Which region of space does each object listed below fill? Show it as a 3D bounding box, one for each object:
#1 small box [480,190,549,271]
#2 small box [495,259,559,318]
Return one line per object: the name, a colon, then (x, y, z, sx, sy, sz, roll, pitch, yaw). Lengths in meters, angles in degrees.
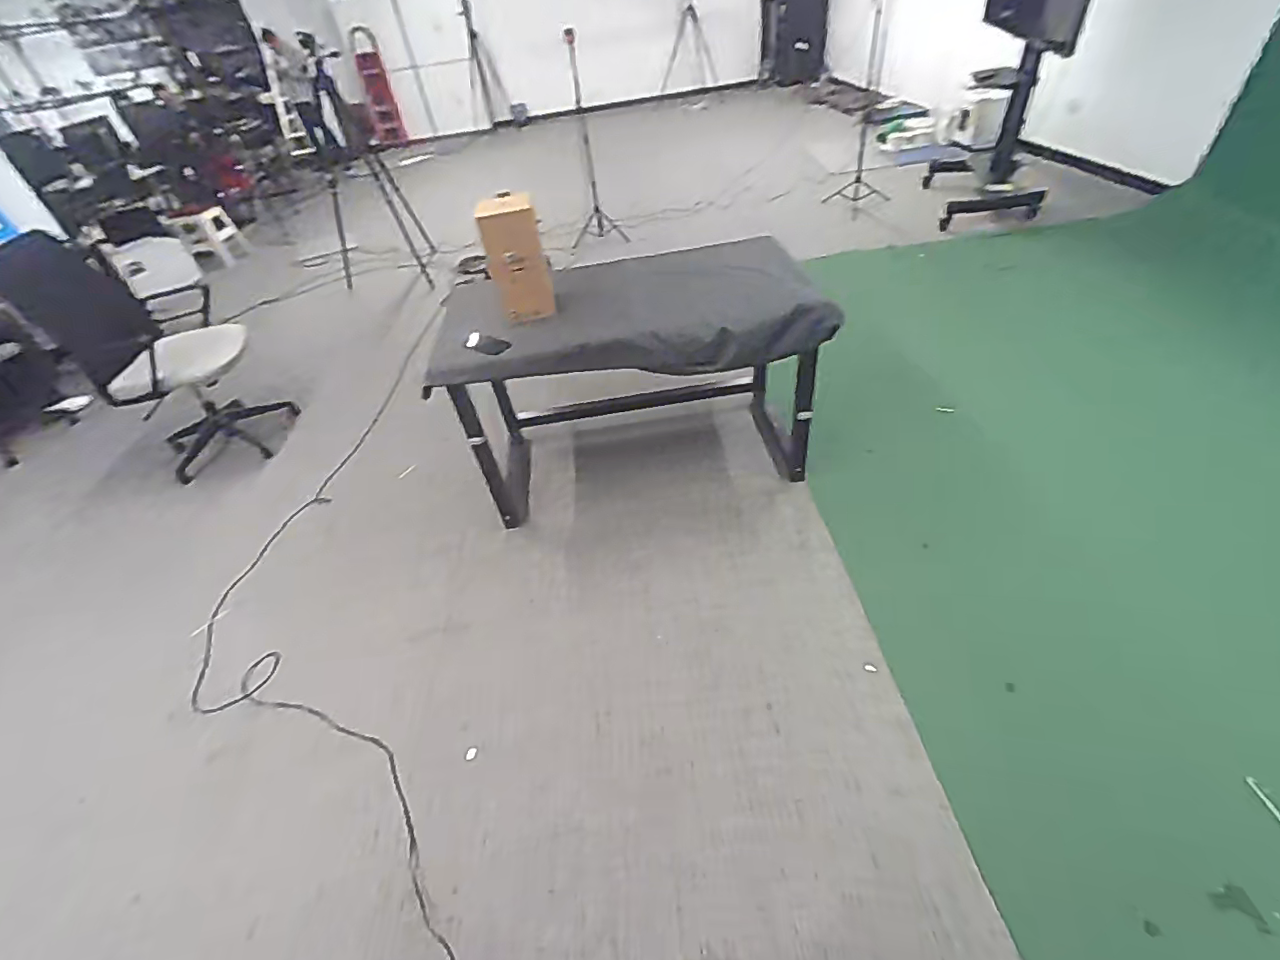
small box: (-0.379, -0.760, 1.651, 0.168, 0.176, 0.179, -12, 44, -2)
small box: (-0.363, -0.641, 1.759, 0.168, 0.176, 0.179, -11, 42, -2)
